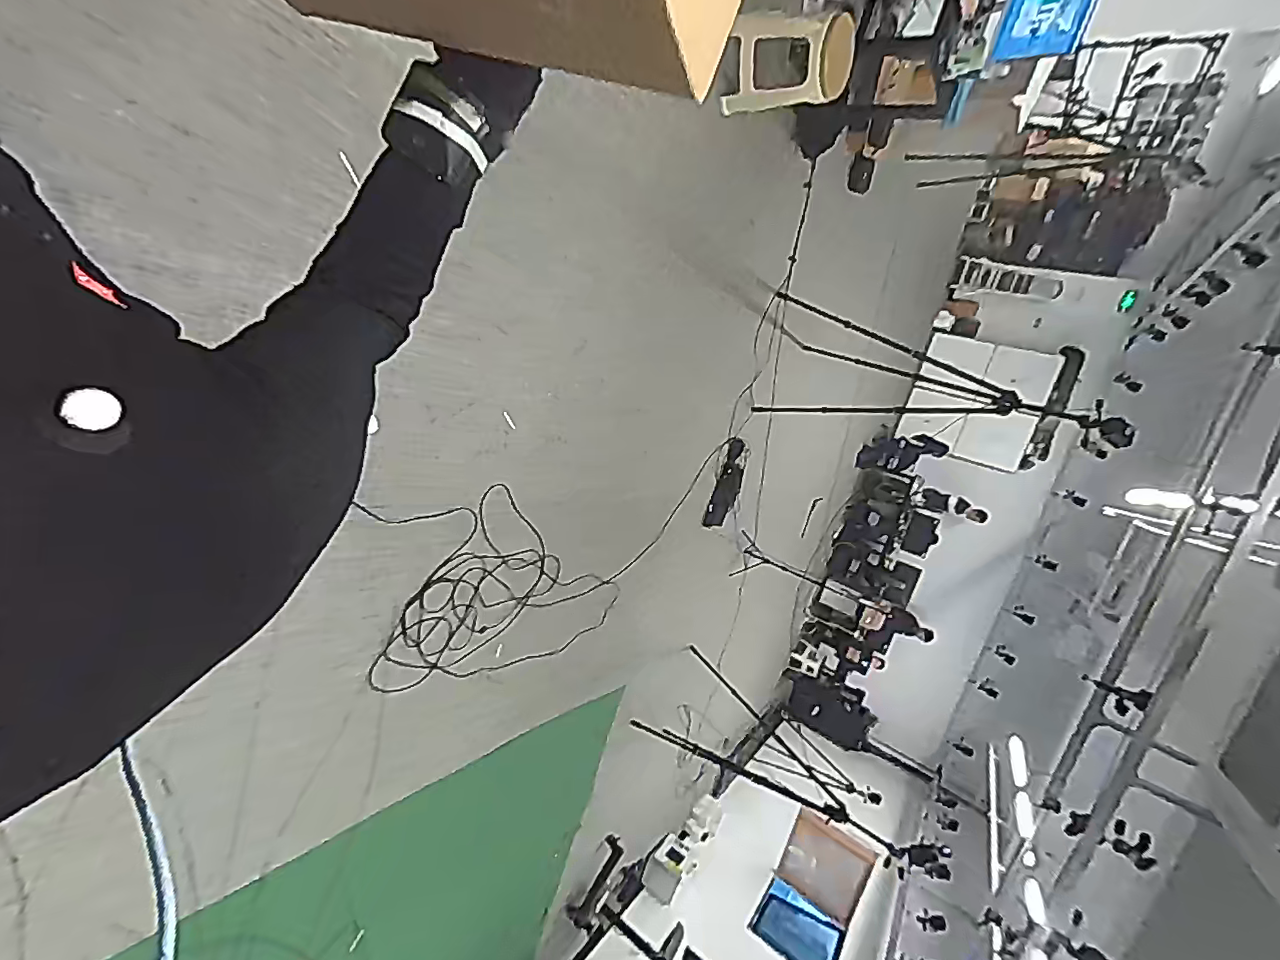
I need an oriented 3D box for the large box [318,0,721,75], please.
[{"bbox_3d":[-0.113,-0.412,0.138,0.408,0.320,0.320,-16,128,-74],"label":"large box"}]
